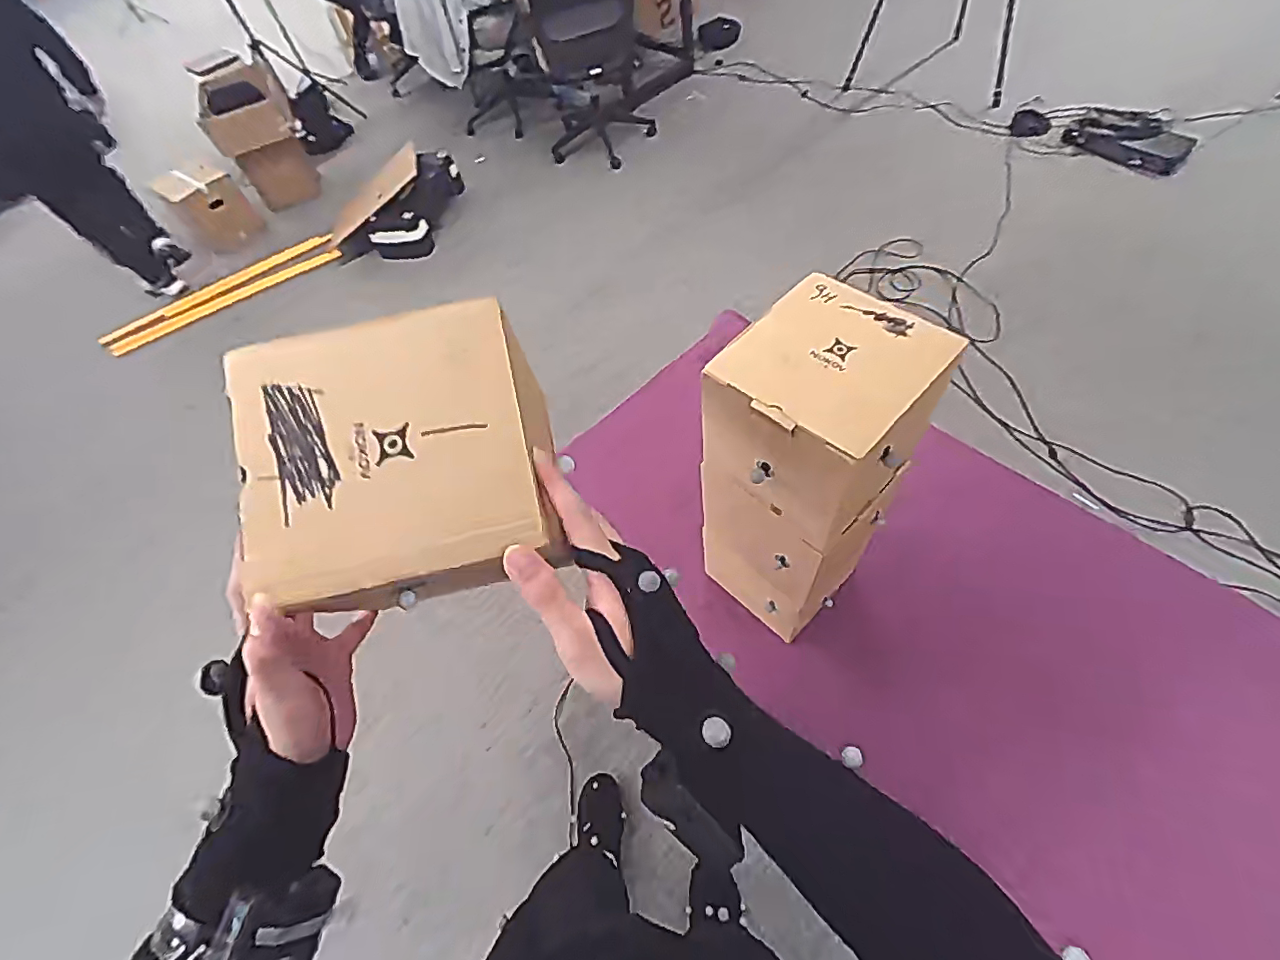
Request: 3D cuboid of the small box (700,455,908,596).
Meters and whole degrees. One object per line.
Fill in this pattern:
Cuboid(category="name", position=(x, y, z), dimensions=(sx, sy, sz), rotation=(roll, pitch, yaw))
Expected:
Cuboid(category="small box", position=(0.197, 0.025, 0.690), dimensions=(0.168, 0.176, 0.179), rotation=(-41, 60, -17))

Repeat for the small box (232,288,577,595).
Cuboid(category="small box", position=(-0.154, -0.011, 0.402), dimensions=(0.179, 0.176, 0.168), rotation=(-12, 78, -3))

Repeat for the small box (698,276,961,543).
Cuboid(category="small box", position=(0.181, -0.067, 0.555), dimensions=(0.179, 0.176, 0.168), rotation=(-42, 61, -18))
